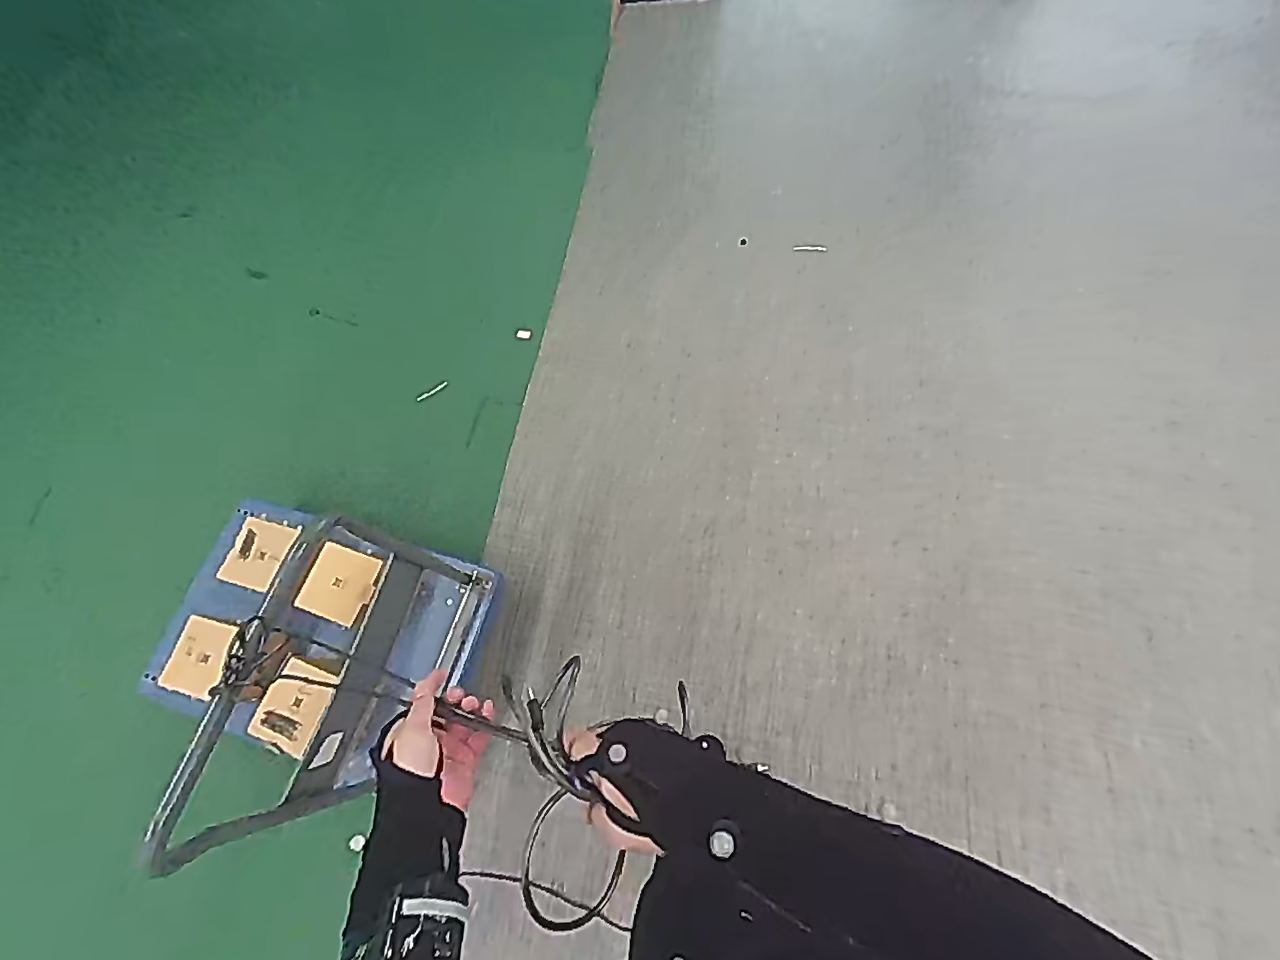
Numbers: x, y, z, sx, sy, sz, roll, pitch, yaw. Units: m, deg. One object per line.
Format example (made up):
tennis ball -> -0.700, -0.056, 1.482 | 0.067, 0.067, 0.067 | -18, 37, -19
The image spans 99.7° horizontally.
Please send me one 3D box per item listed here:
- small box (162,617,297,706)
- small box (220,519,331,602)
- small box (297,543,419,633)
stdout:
small box -> -1.006, 0.451, 1.345 | 0.179, 0.176, 0.168 | 10, 71, 13
small box -> -0.929, 0.219, 1.421 | 0.179, 0.176, 0.168 | 13, 72, 12
small box -> -0.702, 0.279, 1.364 | 0.179, 0.176, 0.168 | 16, 73, 13
